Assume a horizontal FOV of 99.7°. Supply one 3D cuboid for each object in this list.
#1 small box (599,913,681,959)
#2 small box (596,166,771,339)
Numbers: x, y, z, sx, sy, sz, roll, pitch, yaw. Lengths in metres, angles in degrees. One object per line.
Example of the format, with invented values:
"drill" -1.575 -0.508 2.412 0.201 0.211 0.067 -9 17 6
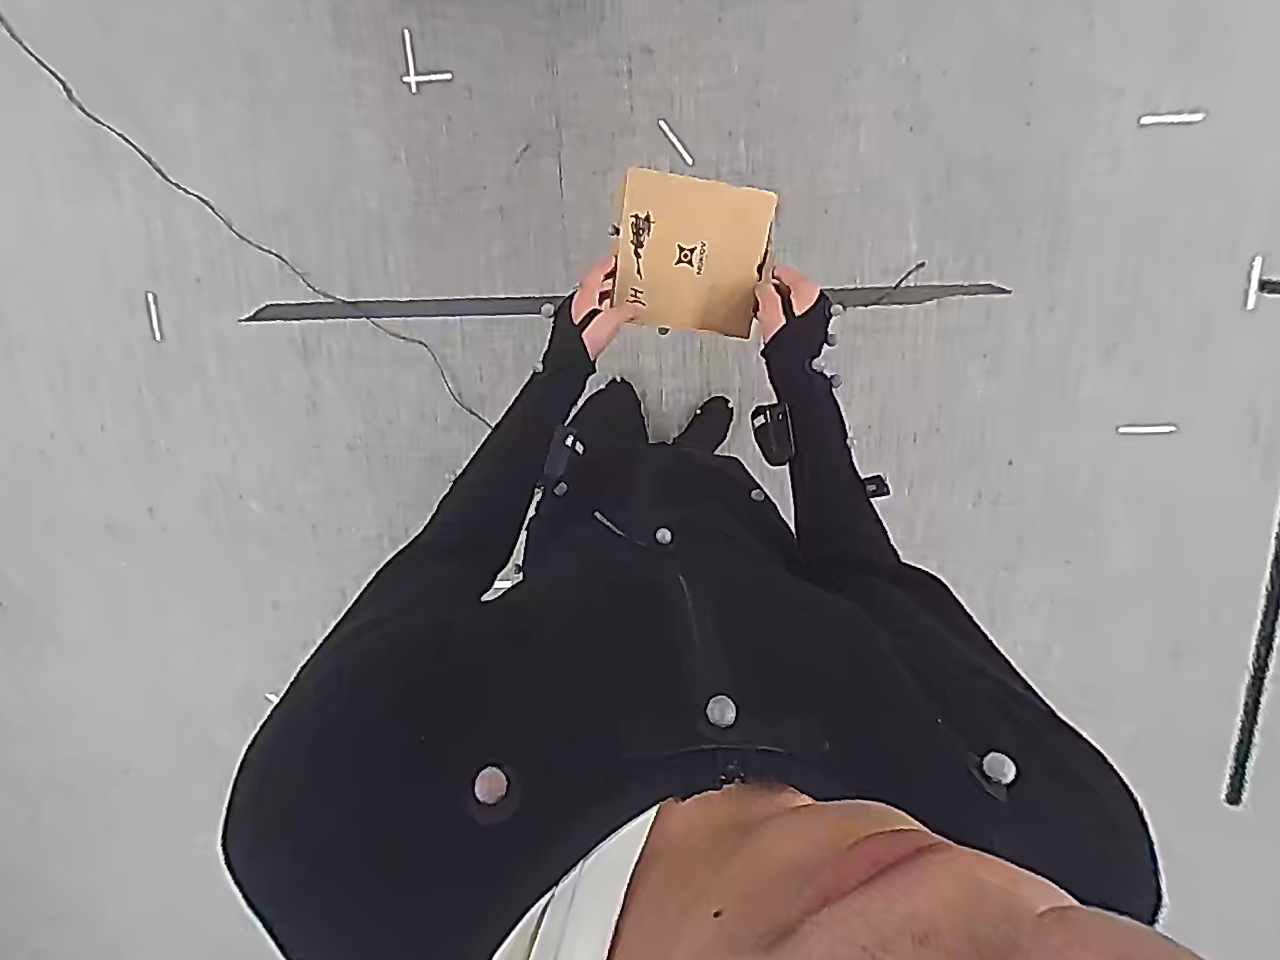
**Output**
"small box" -0.007 1.104 1.180 0.168 0.176 0.179 15 103 0
"small box" 0.043 -0.286 0.702 0.179 0.176 0.168 5 109 -10
